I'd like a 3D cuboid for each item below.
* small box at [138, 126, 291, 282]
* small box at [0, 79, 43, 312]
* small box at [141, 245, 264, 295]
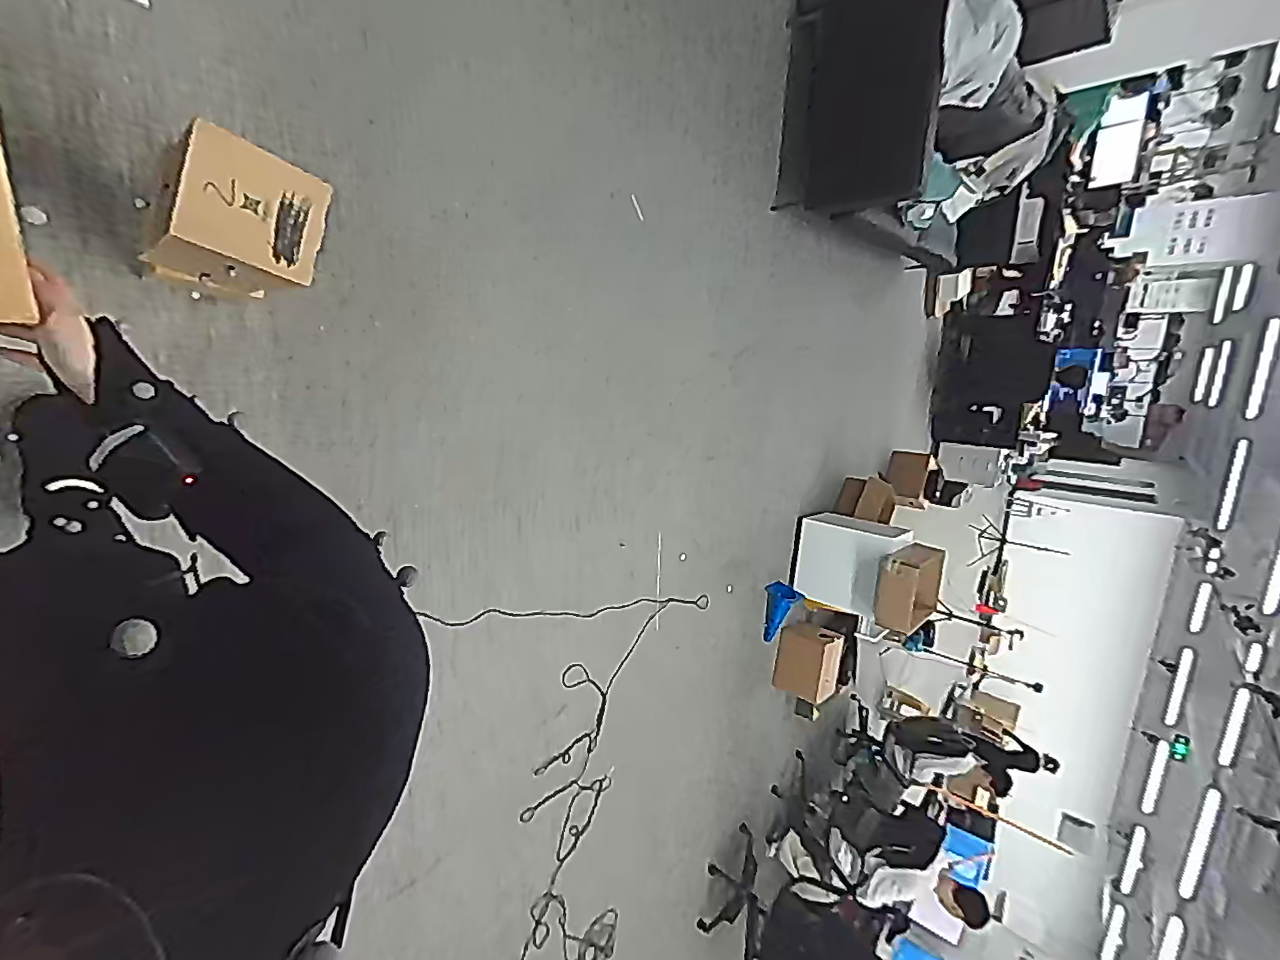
[{"bbox_3d":[-0.732,-0.454,0.928,0.168,0.176,0.179,10,92,-50],"label":"small box"},{"bbox_3d":[-0.532,-0.207,0.348,0.168,0.176,0.179,-15,114,-50],"label":"small box"},{"bbox_3d":[-0.842,-0.472,1.049,0.168,0.176,0.179,4,97,-49],"label":"small box"}]
